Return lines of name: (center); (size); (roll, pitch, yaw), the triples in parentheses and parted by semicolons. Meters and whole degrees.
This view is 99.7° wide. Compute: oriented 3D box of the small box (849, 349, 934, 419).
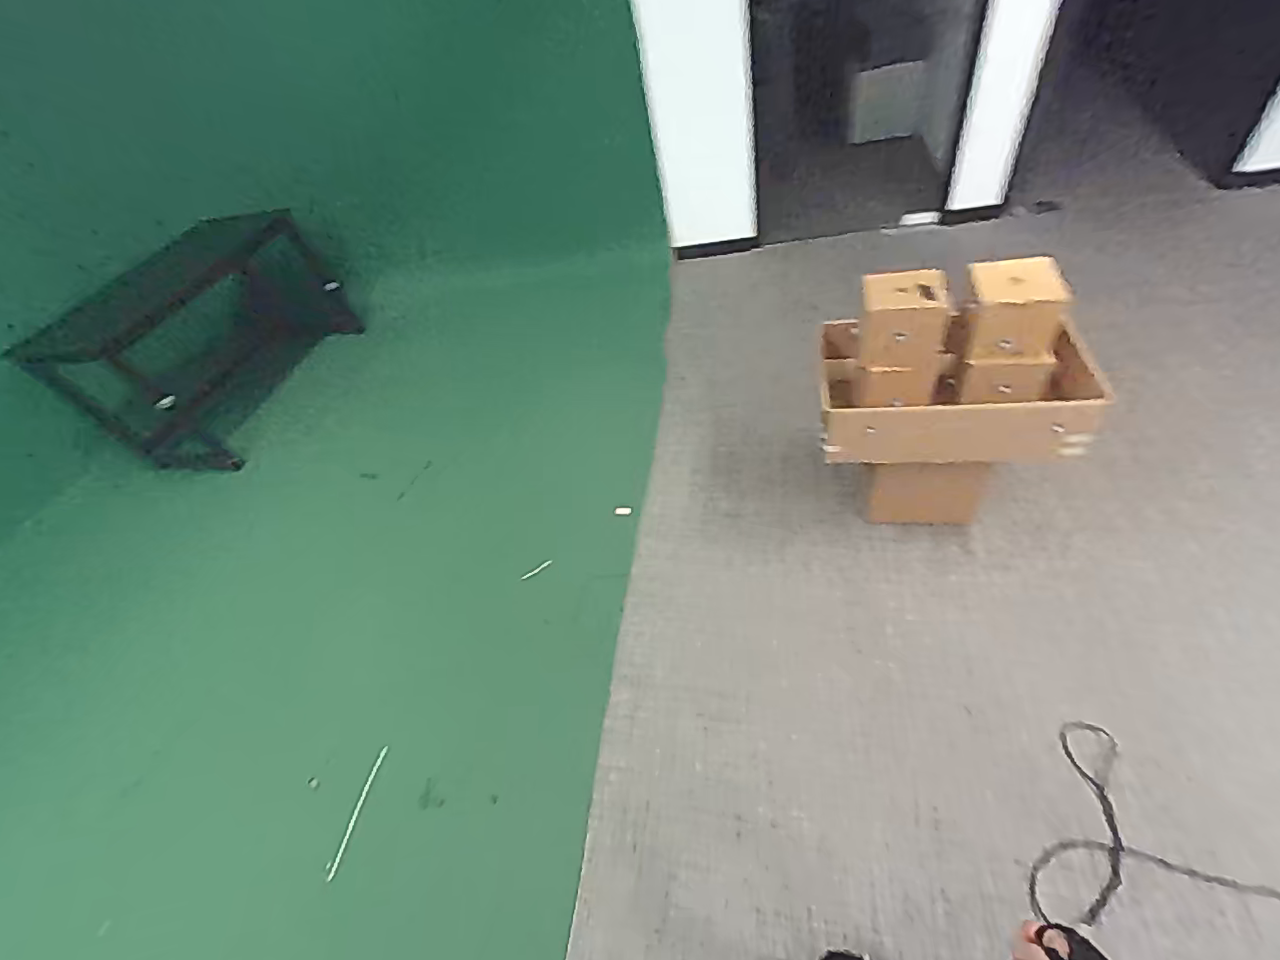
small box: (0.675, -0.286, 1.473); (0.168, 0.176, 0.179); (-3, 49, 12)

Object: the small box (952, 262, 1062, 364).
small box: (0.868, -0.399, 1.302); (0.168, 0.176, 0.179); (1, 49, 17)

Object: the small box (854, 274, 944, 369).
small box: (0.638, -0.392, 1.353); (0.179, 0.176, 0.168); (1, 49, 17)
